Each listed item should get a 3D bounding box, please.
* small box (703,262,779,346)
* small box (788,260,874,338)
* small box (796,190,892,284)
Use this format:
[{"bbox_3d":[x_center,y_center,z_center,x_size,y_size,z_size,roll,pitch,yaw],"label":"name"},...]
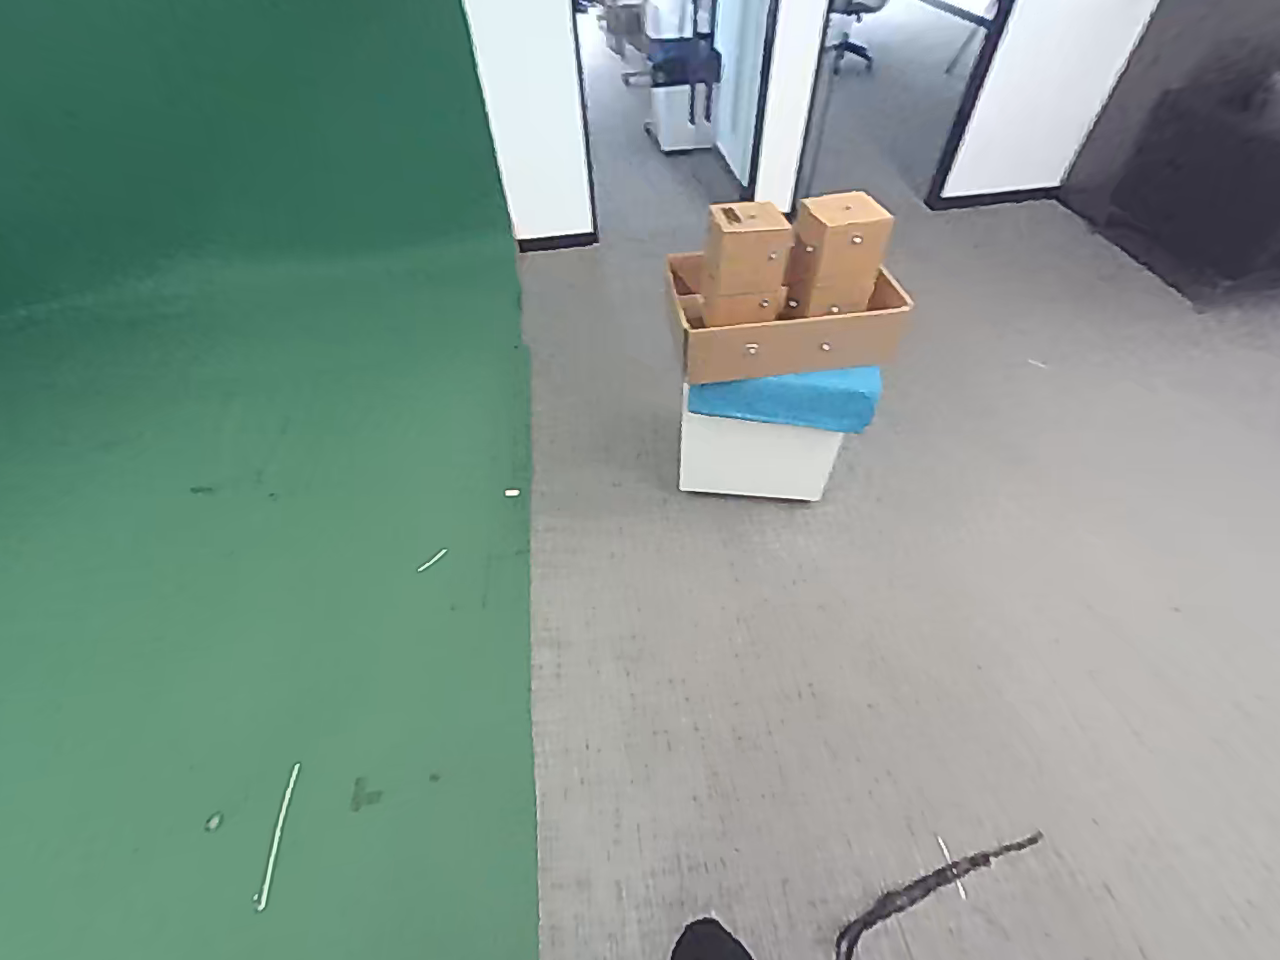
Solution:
[{"bbox_3d":[0.279,-0.499,1.541,0.179,0.176,0.168,-6,49,-4],"label":"small box"},{"bbox_3d":[0.535,-0.527,1.546,0.179,0.176,0.168,-11,49,-3],"label":"small box"},{"bbox_3d":[0.523,-0.635,1.424,0.179,0.176,0.168,-11,49,-5],"label":"small box"}]
